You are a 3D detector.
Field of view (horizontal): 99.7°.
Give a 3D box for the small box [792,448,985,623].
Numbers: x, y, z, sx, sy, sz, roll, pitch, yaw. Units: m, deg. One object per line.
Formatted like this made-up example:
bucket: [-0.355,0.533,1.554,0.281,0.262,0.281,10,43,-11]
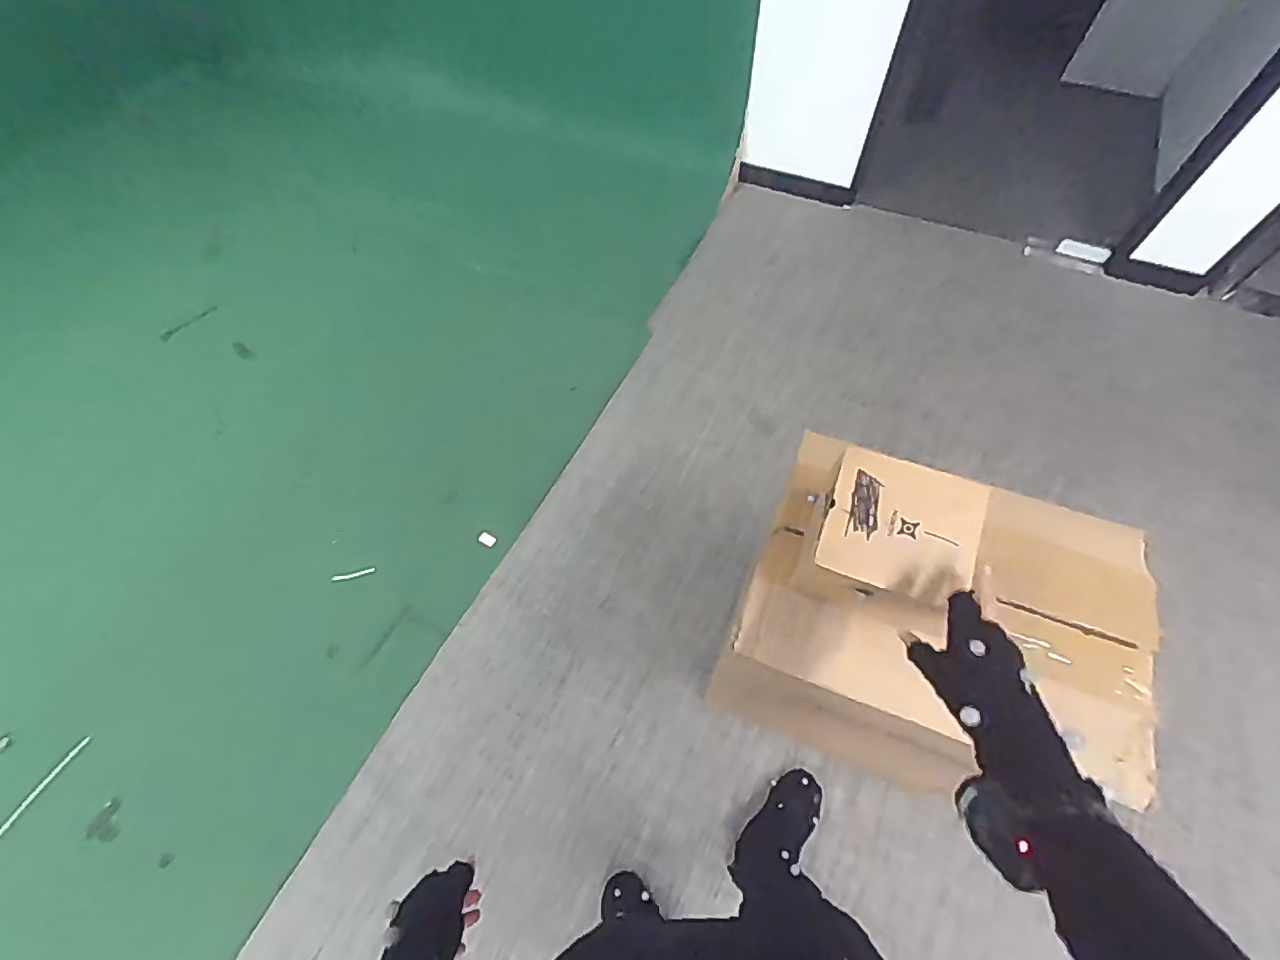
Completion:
small box: [0.319,0.083,0.727,0.179,0.176,0.168,19,73,12]
